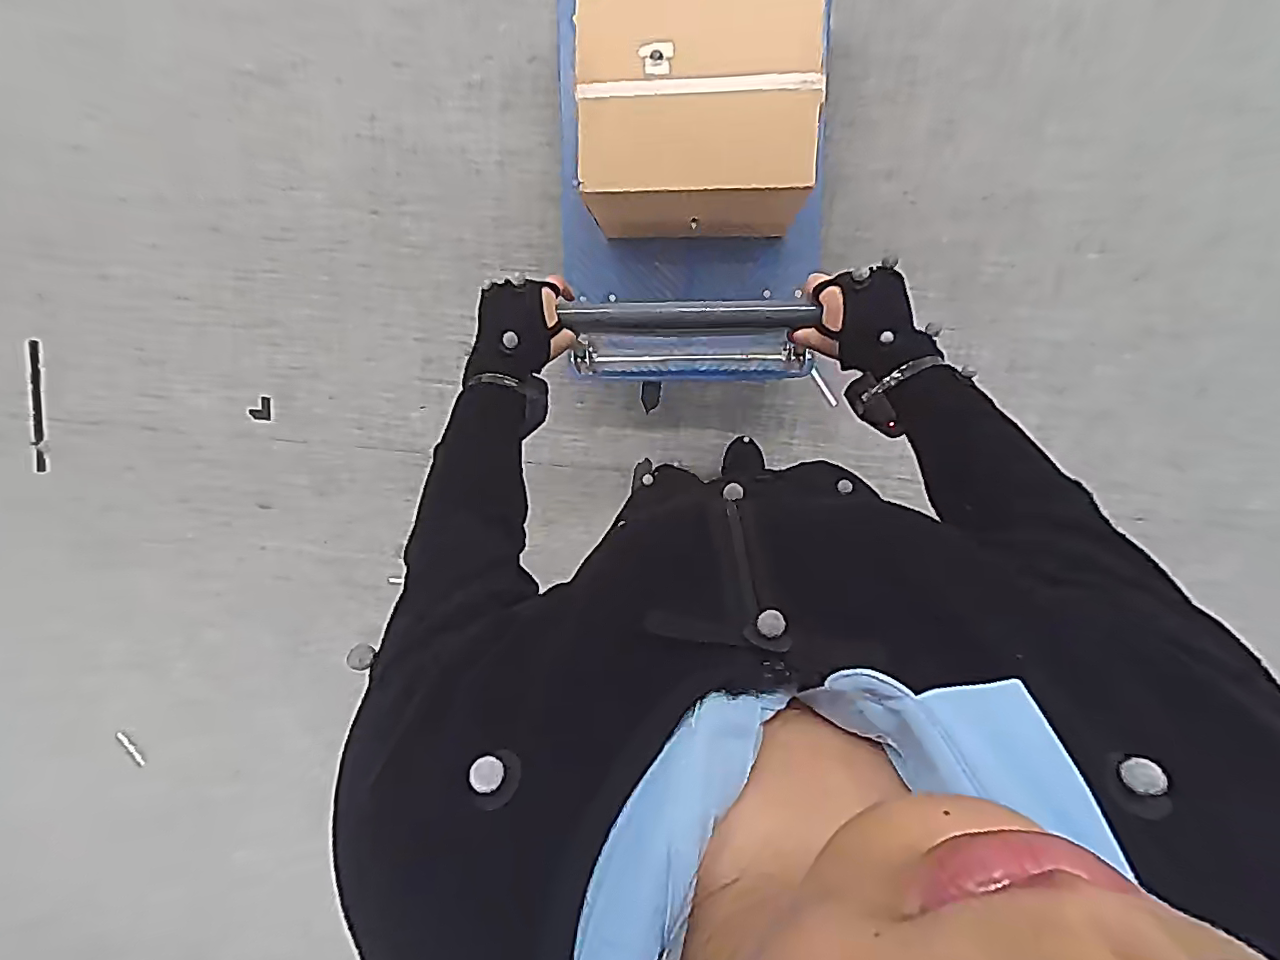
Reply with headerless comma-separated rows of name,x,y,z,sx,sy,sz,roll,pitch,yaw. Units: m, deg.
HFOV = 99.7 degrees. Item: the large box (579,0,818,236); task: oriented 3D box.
large box,0.113,-0.685,1.064,0.408,0.320,0.320,1,99,6
